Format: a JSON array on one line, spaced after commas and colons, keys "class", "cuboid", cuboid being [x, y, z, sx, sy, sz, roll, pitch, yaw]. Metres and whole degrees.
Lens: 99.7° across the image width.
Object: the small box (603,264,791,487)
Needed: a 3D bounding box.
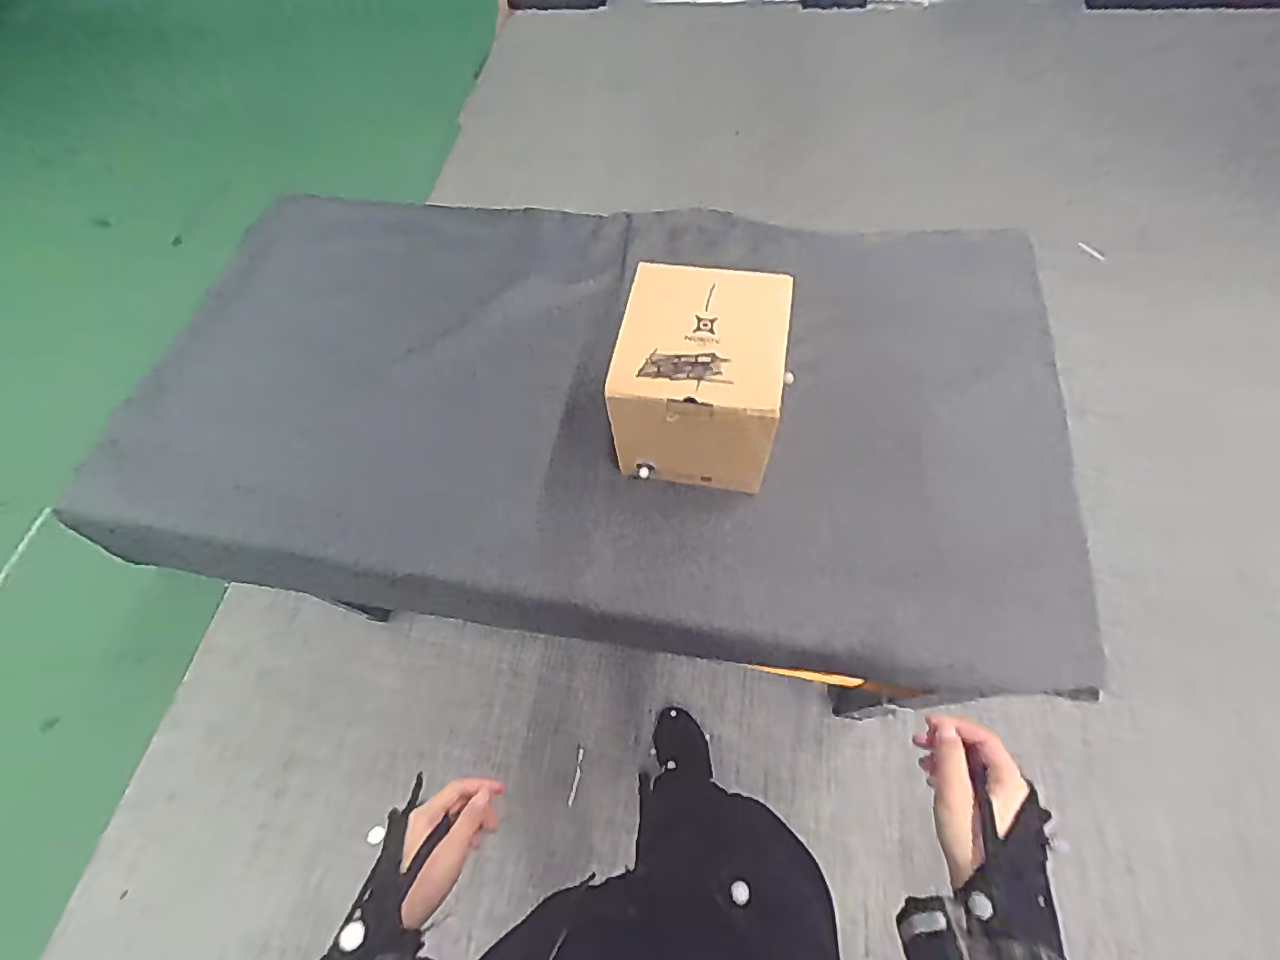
[{"class": "small box", "cuboid": [0.066, -0.109, 0.605, 0.168, 0.176, 0.179, 8, 63, 8]}]
